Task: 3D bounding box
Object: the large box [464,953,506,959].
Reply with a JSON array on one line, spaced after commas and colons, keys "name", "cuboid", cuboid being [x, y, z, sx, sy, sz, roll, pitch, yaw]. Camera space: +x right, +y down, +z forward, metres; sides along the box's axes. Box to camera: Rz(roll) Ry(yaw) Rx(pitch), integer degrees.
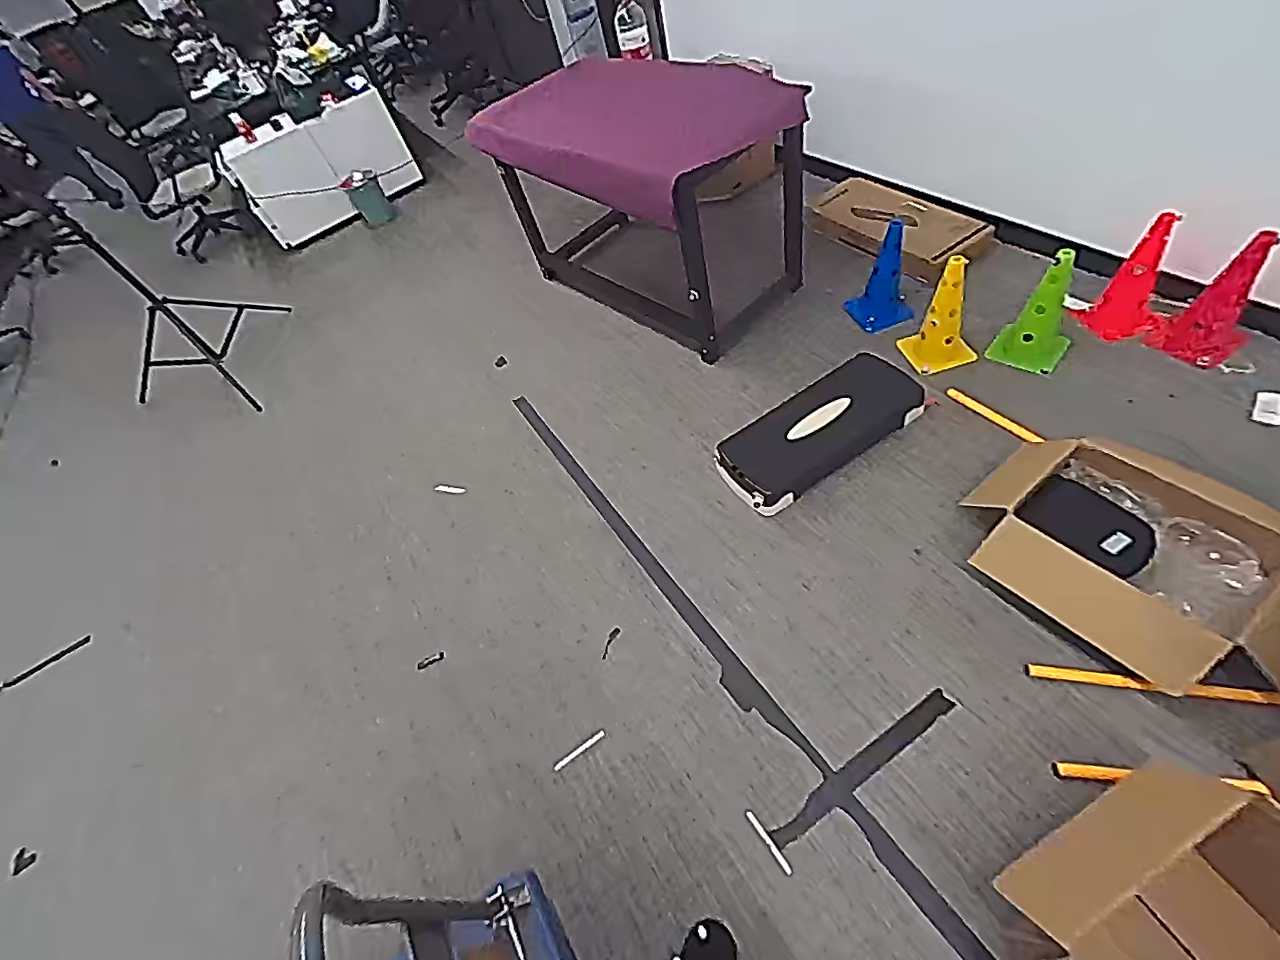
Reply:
[{"name": "large box", "cuboid": [-0.321, 1.023, 0.786, 0.320, 0.320, 0.408, -32, 51, -9]}]
